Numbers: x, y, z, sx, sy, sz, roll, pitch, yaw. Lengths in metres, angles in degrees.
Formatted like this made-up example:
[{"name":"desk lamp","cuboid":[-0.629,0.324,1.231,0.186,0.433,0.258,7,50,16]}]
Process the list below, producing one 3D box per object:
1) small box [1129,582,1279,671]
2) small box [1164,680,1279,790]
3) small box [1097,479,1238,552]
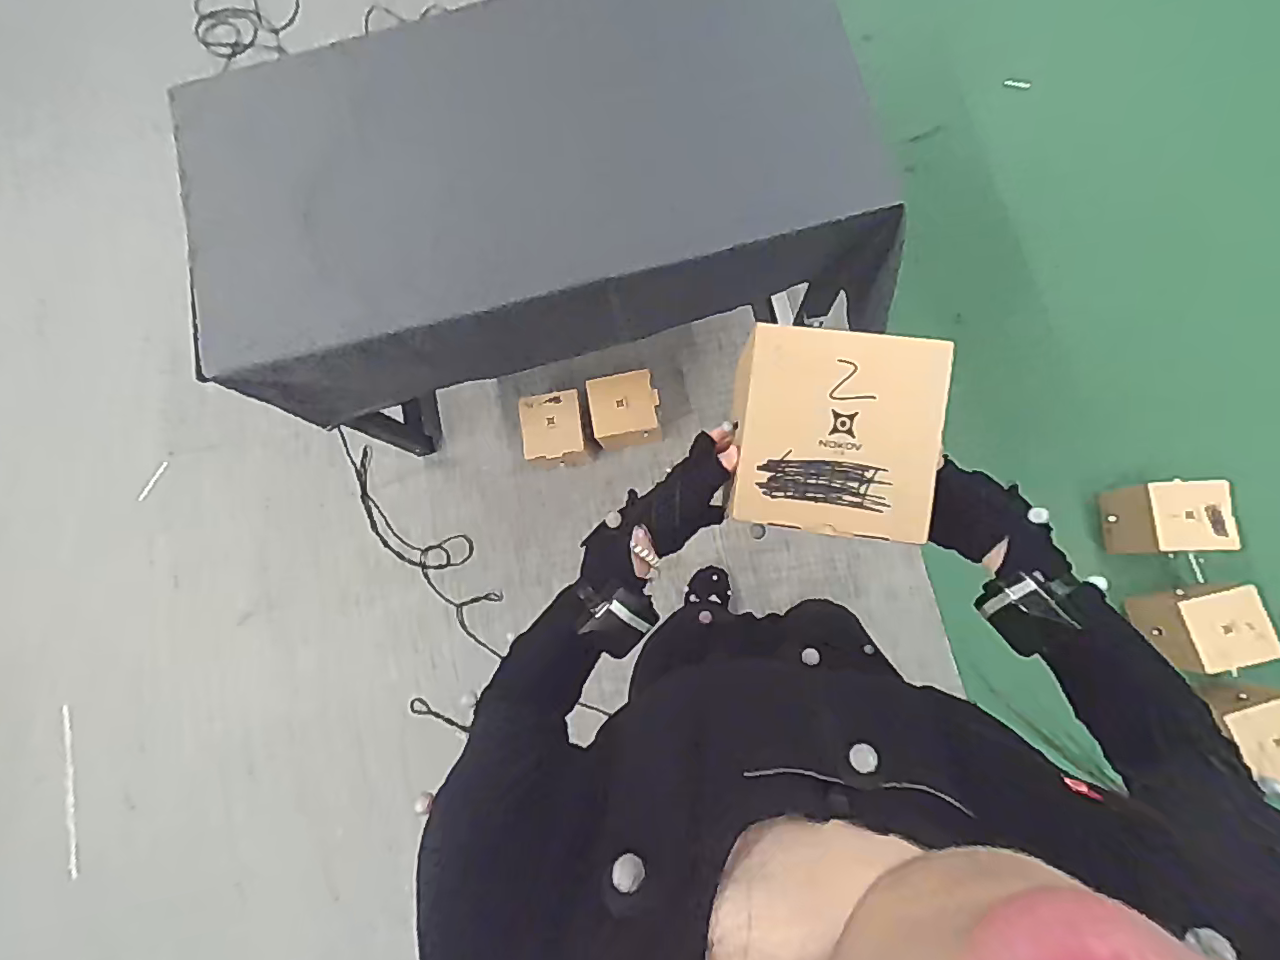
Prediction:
[{"name":"small box","cuboid":[1.334,0.344,1.296,0.179,0.176,0.168,-15,80,2]},{"name":"small box","cuboid":[1.399,0.579,1.253,0.179,0.176,0.168,-18,79,1]},{"name":"small box","cuboid":[1.297,0.092,1.343,0.179,0.176,0.168,-3,80,6]}]
